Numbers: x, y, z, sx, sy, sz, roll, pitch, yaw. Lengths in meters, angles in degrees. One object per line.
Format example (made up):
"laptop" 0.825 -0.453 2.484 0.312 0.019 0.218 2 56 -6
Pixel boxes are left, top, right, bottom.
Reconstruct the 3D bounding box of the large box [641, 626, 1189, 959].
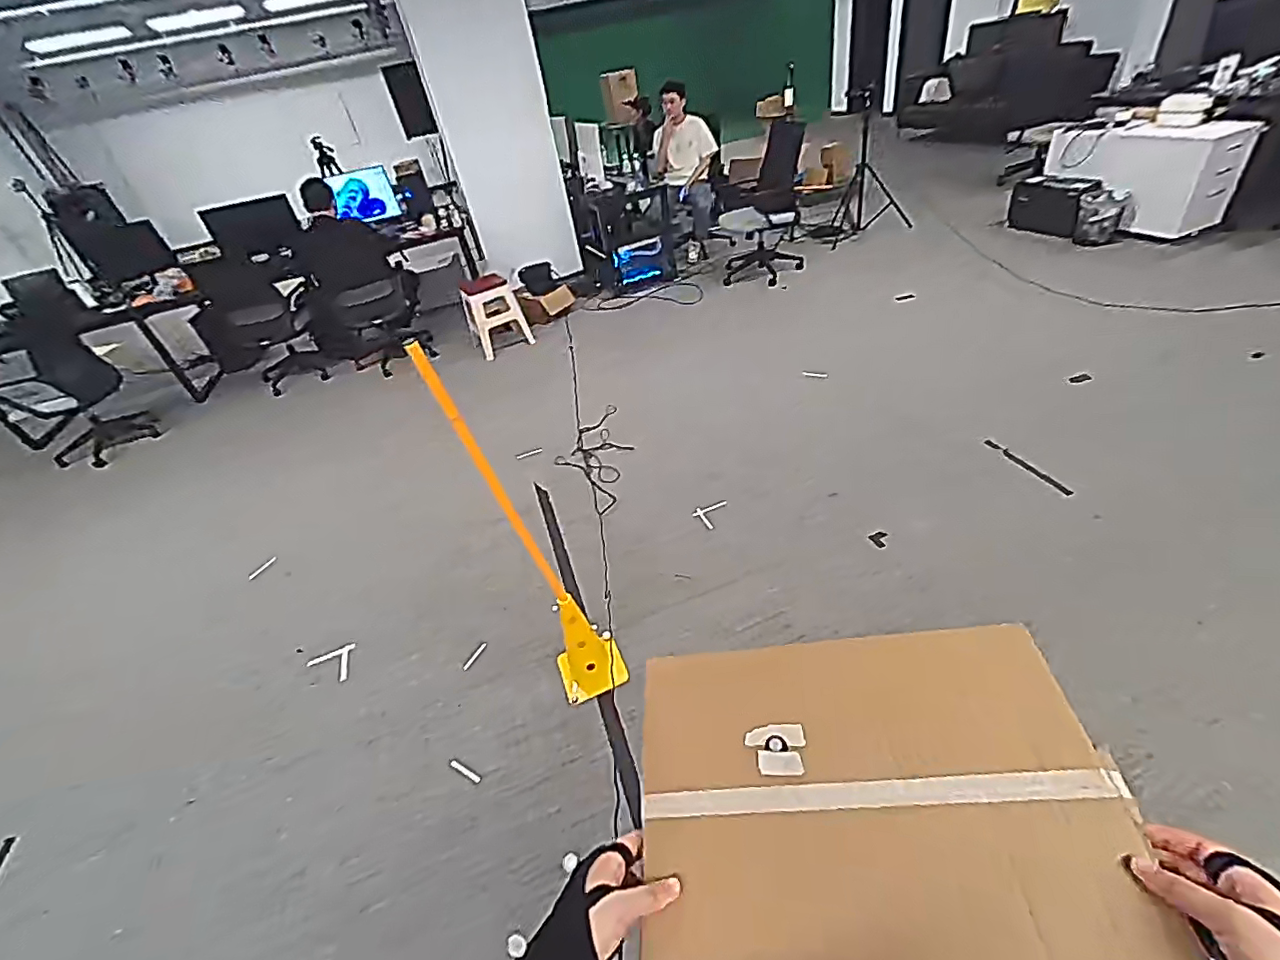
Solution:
"large box" 0.234 0.400 0.593 0.408 0.320 0.320 -11 40 12
